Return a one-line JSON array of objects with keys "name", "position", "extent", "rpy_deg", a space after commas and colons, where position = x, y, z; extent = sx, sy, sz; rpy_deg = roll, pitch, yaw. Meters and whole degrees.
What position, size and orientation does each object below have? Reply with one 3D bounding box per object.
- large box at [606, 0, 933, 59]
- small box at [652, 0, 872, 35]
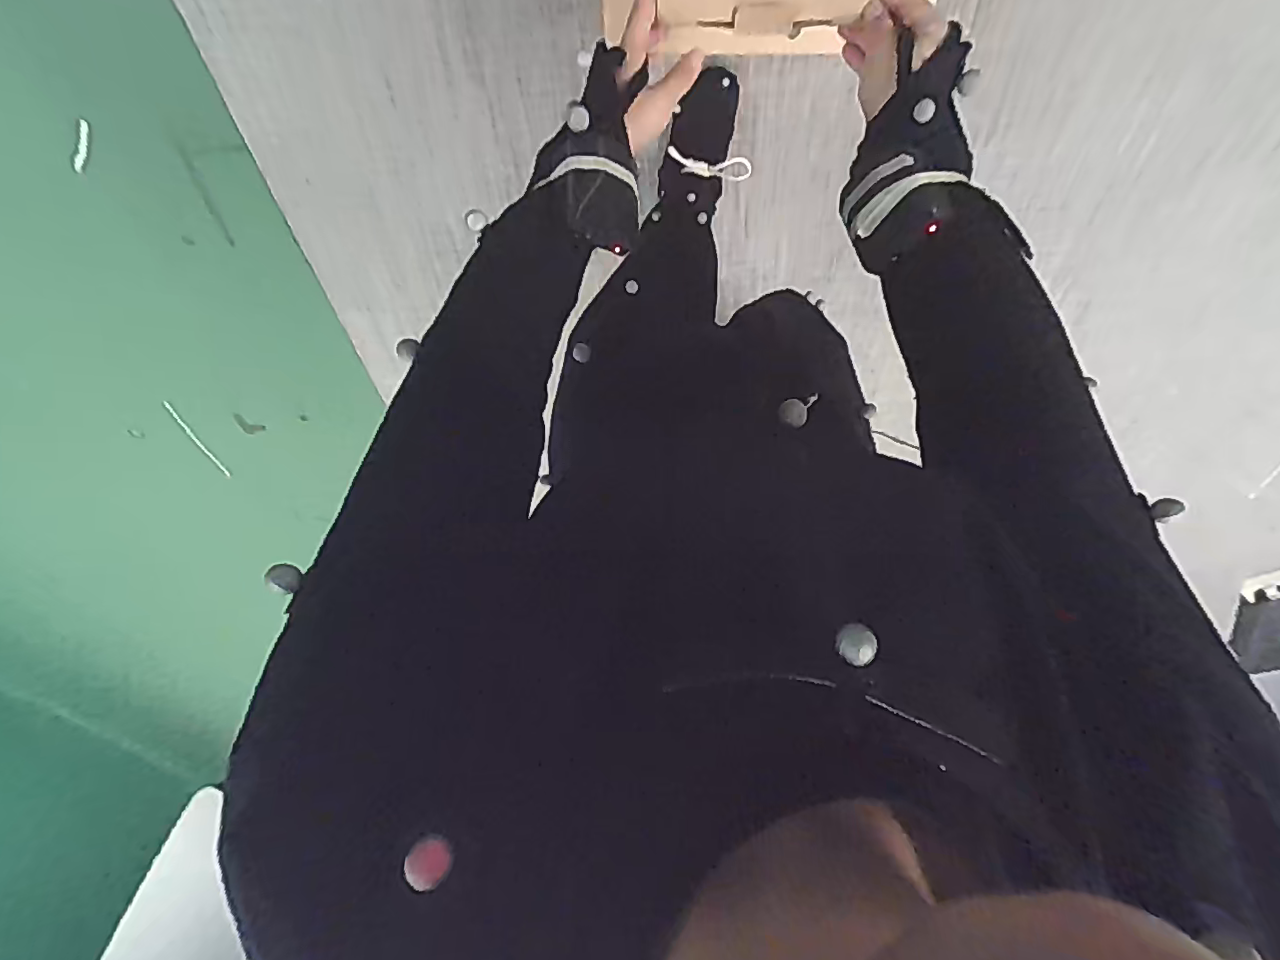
[{"name": "large box", "position": [0.155, -0.760, 0.689], "extent": [0.408, 0.320, 0.320], "rpy_deg": [0, 136, 1]}, {"name": "small box", "position": [0.094, -0.462, 0.411], "extent": [0.168, 0.176, 0.179], "rpy_deg": [1, 134, 3]}]
